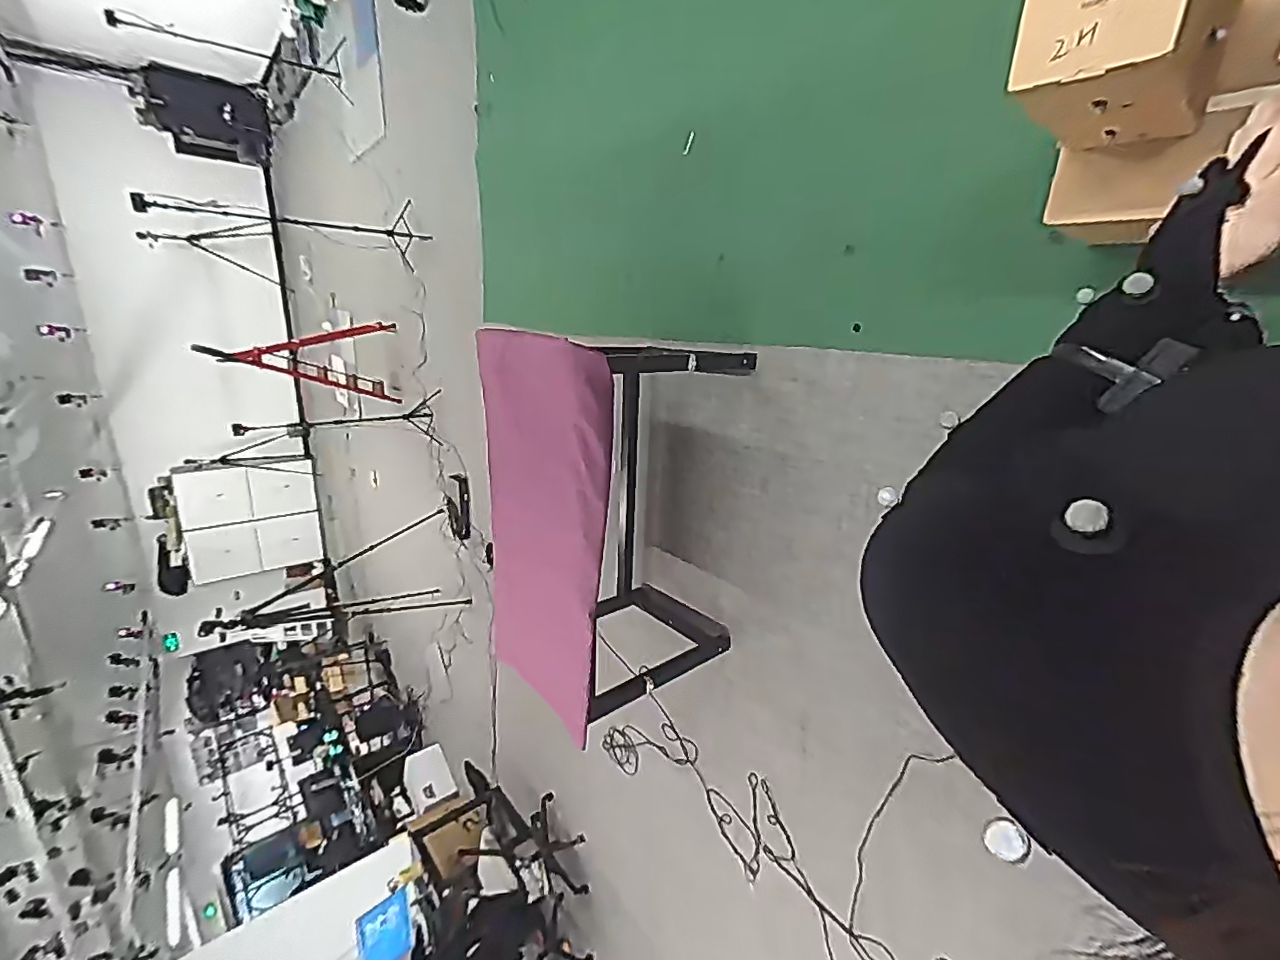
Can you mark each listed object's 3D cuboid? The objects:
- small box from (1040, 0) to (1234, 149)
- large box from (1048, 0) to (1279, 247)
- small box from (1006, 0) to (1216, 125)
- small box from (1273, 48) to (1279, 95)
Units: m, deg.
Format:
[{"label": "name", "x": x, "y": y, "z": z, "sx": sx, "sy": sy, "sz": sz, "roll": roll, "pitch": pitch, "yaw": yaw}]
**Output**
[{"label": "small box", "x": 0.727, "y": -0.615, "z": 0.793, "sx": 0.168, "sy": 0.176, "sz": 0.179, "roll": 22, "pitch": 115, "yaw": 45}, {"label": "large box", "x": 0.978, "y": -0.575, "z": 0.883, "sx": 0.408, "sy": 0.320, "sz": 0.320, "roll": 22, "pitch": 116, "yaw": 45}, {"label": "small box", "x": 0.603, "y": -0.588, "z": 0.688, "sx": 0.168, "sy": 0.176, "sz": 0.179, "roll": 21, "pitch": 115, "yaw": 46}, {"label": "small box", "x": 0.885, "y": -0.555, "z": 0.610, "sx": 0.179, "sy": 0.176, "sz": 0.168, "roll": 29, "pitch": 119, "yaw": 44}]
